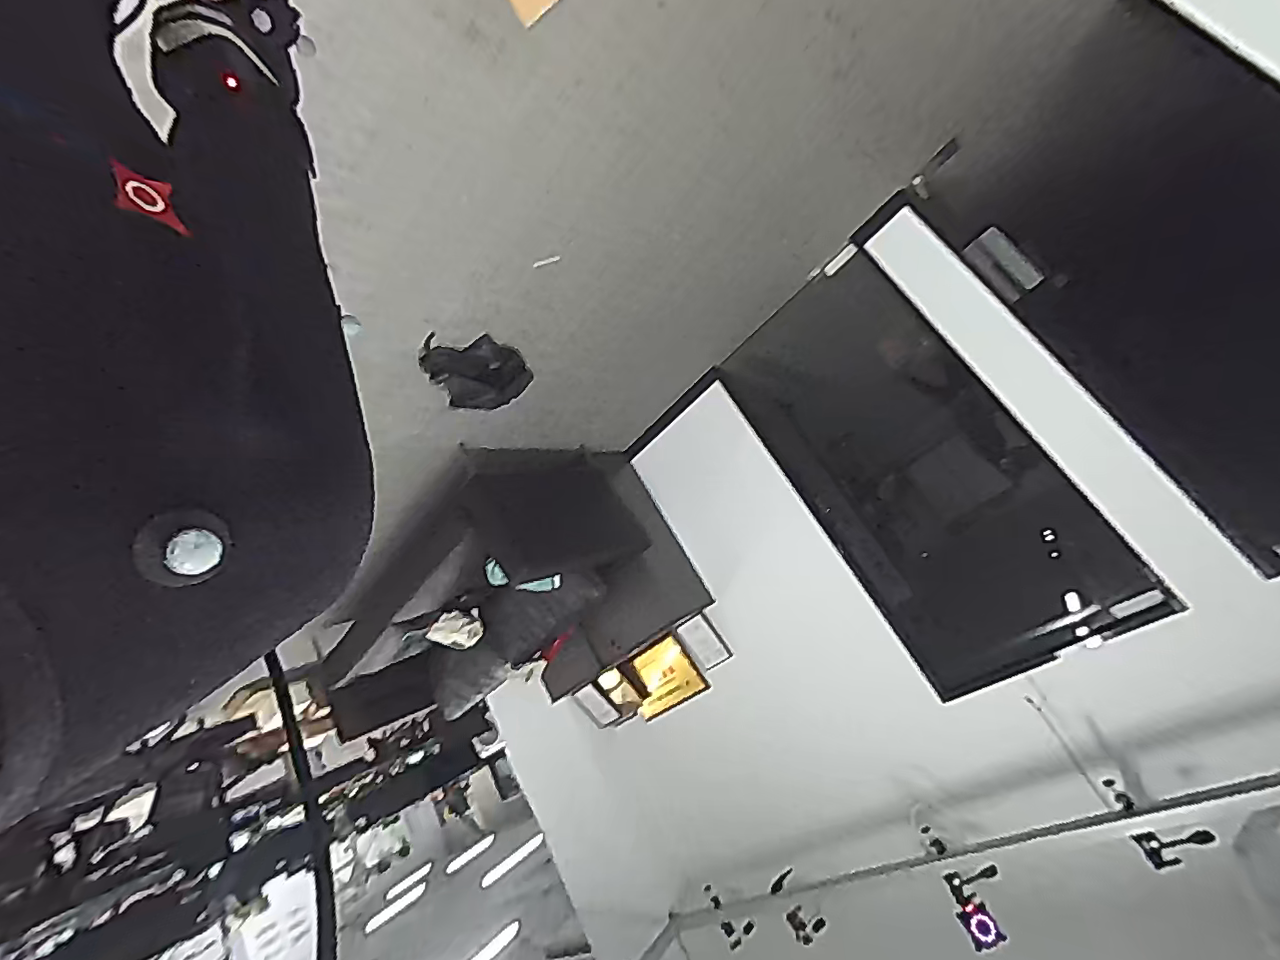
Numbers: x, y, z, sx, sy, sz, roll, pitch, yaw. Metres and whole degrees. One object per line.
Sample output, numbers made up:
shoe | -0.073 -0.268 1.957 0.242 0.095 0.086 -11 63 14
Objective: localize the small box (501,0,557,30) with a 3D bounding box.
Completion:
small box | -0.220 -0.968 0.945 0.168 0.176 0.179 -34 162 11
